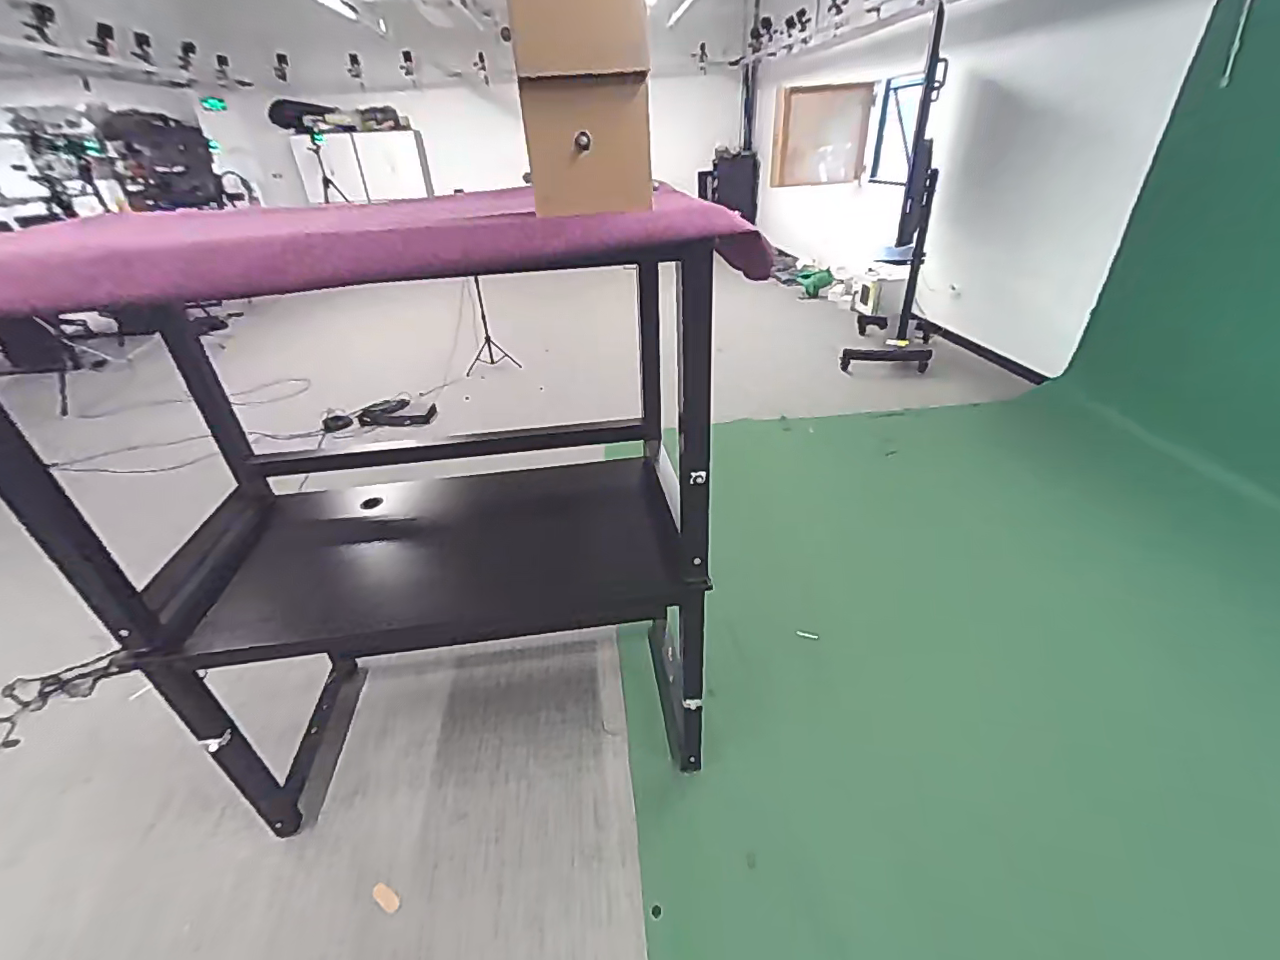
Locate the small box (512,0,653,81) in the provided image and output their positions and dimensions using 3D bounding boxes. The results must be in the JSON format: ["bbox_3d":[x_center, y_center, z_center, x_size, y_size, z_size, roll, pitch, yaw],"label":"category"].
[{"bbox_3d":[-0.077,-0.634,0.717,0.179,0.176,0.168,-7,32,-4],"label":"small box"}]

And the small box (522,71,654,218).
[{"bbox_3d":[-0.073,-0.505,0.822,0.179,0.176,0.168,-7,32,-3],"label":"small box"}]
